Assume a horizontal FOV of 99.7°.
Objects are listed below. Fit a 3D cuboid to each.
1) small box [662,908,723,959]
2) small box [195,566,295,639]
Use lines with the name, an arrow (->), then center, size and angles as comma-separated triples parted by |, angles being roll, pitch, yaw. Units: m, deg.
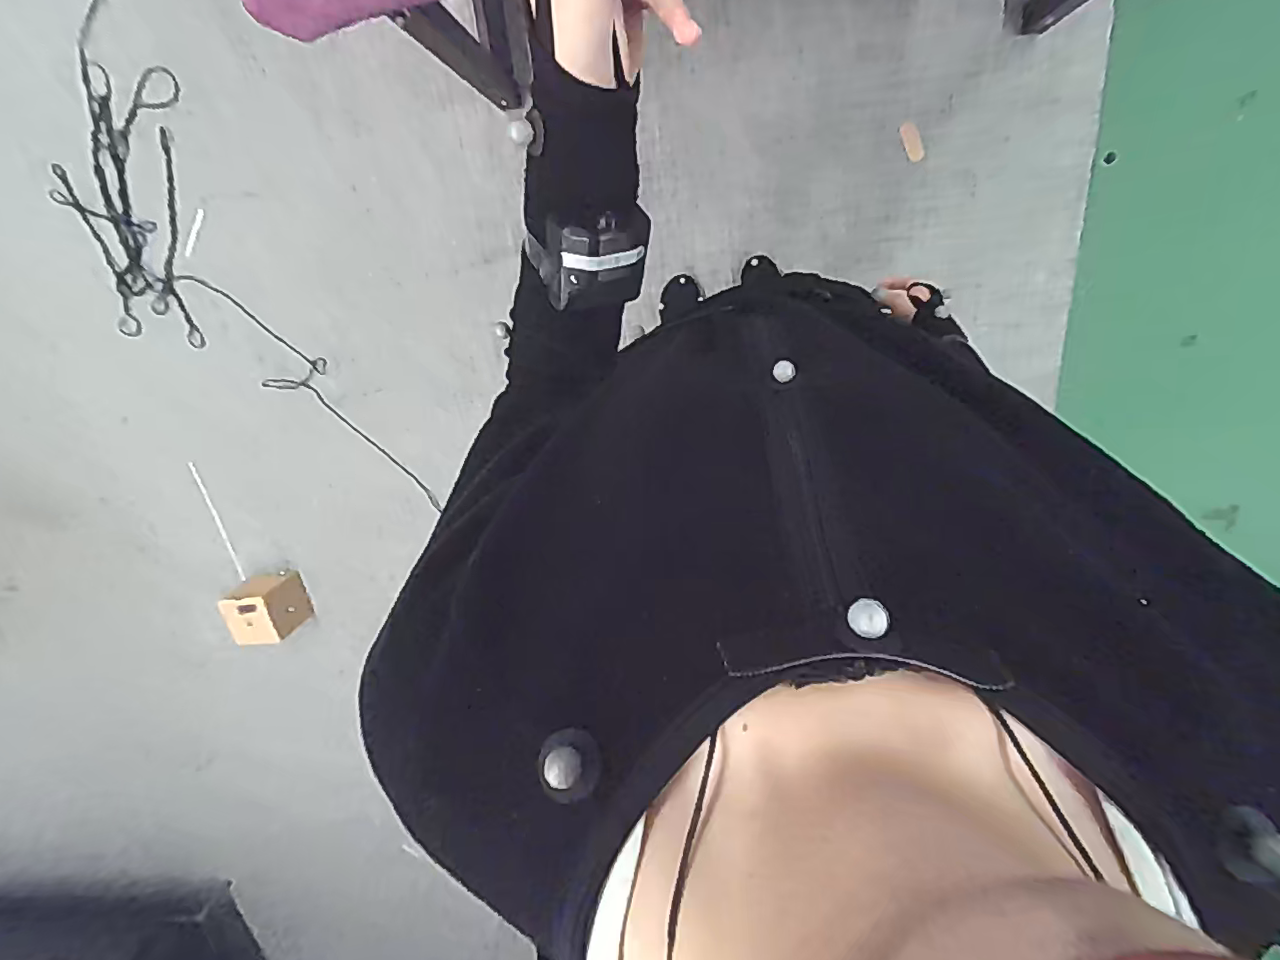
small box -> 0.148, 1.351, 1.518 | 0.168, 0.176, 0.179 | -1, 111, 4
small box -> -1.267, 0.390, 1.748 | 0.168, 0.176, 0.179 | -4, 111, 8
